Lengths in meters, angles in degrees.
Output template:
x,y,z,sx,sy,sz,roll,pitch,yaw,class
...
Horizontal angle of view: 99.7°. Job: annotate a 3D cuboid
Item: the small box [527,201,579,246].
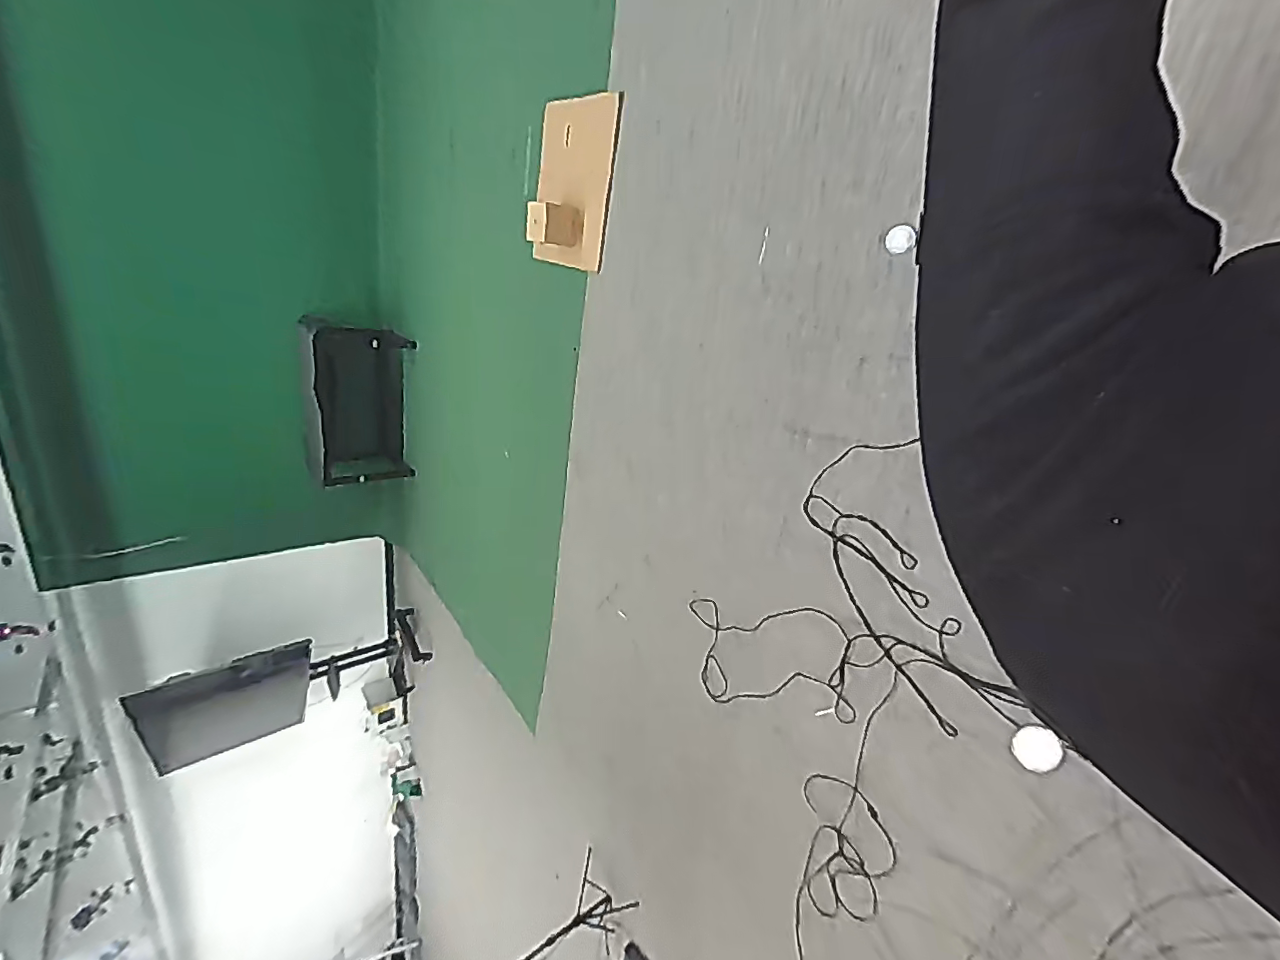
x,y,z,sx,sy,sz,roll,pitch,yaw,class
-0.407,-1.194,2.516,0.179,0.176,0.168,31,122,43,small box
